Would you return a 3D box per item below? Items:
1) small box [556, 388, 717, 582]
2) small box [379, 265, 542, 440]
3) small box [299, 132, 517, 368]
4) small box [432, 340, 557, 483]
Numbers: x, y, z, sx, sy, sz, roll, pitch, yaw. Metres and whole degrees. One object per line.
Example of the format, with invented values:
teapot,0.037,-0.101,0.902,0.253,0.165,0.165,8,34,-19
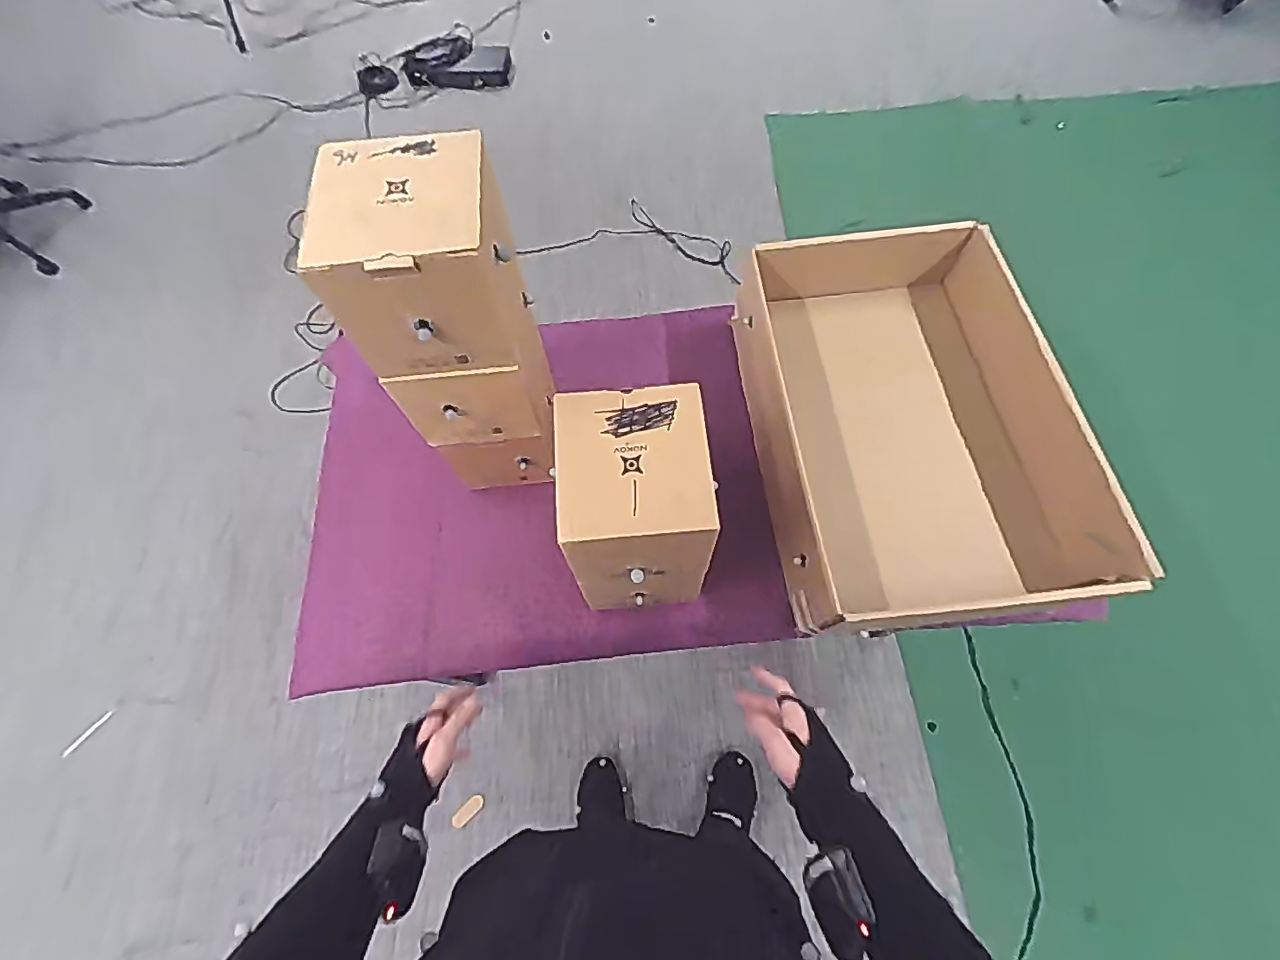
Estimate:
small box,-0.007,0.012,0.648,0.168,0.176,0.179,-5,66,0
small box,-0.231,-0.165,0.739,0.168,0.176,0.179,-6,65,-2
small box,-0.233,-0.237,0.591,0.168,0.176,0.179,-6,66,-2
small box,-0.226,-0.103,0.889,0.168,0.176,0.179,-5,66,-2
